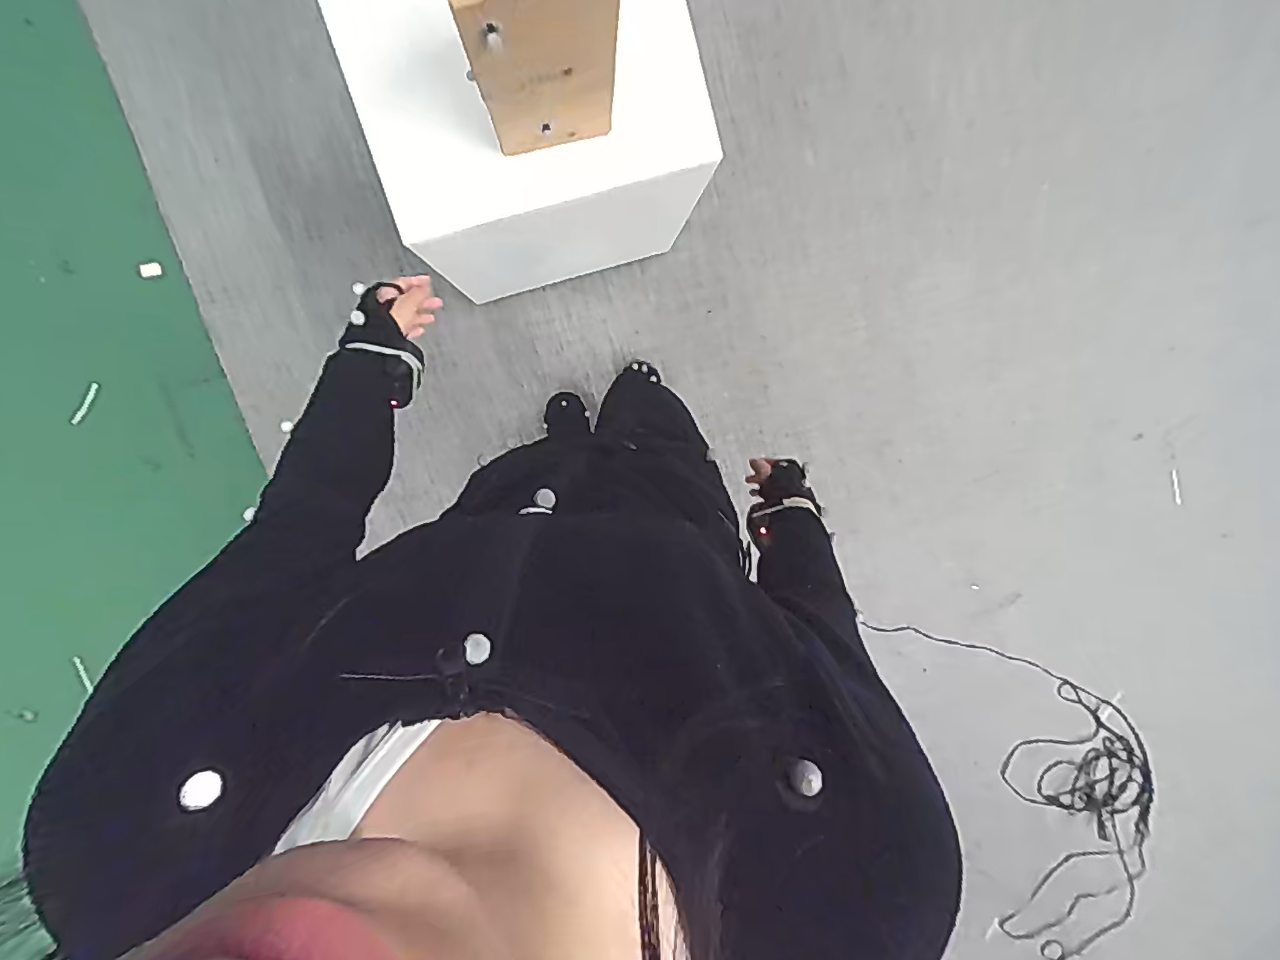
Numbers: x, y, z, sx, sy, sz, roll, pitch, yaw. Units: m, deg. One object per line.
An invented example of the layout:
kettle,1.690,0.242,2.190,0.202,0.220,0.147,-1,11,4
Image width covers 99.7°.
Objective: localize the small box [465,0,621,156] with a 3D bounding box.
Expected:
small box,-0.129,-0.568,0.710,0.168,0.176,0.179,-15,99,-3
